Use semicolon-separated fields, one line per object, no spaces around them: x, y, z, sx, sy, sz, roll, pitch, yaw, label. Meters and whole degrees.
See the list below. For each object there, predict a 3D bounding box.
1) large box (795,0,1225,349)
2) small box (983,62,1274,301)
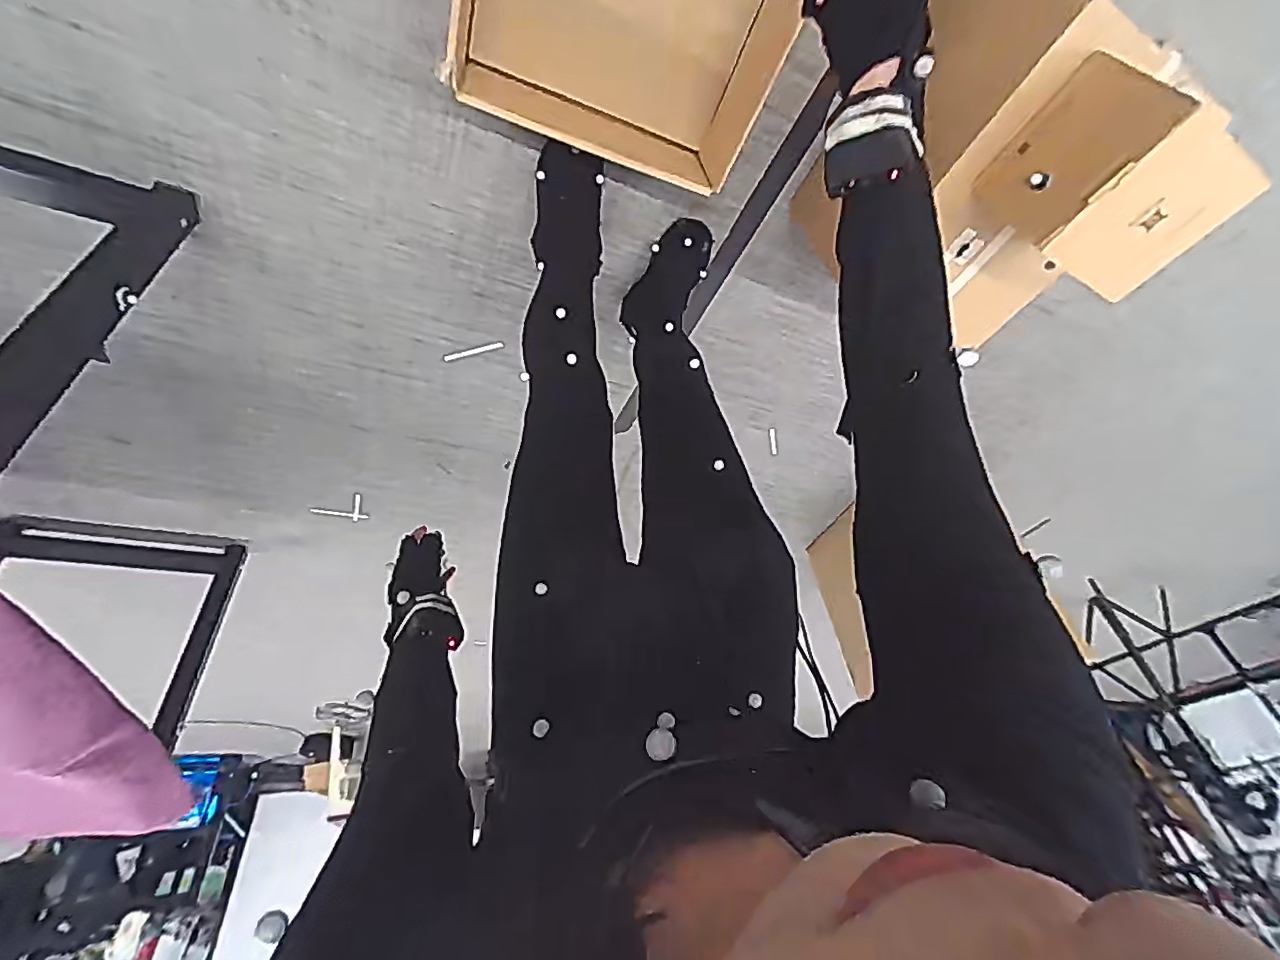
0.522;-0.493;0.860;0.320;0.320;0.408;12;139;-23;large box
0.561;-0.354;0.646;0.179;0.176;0.168;13;139;-25;small box
